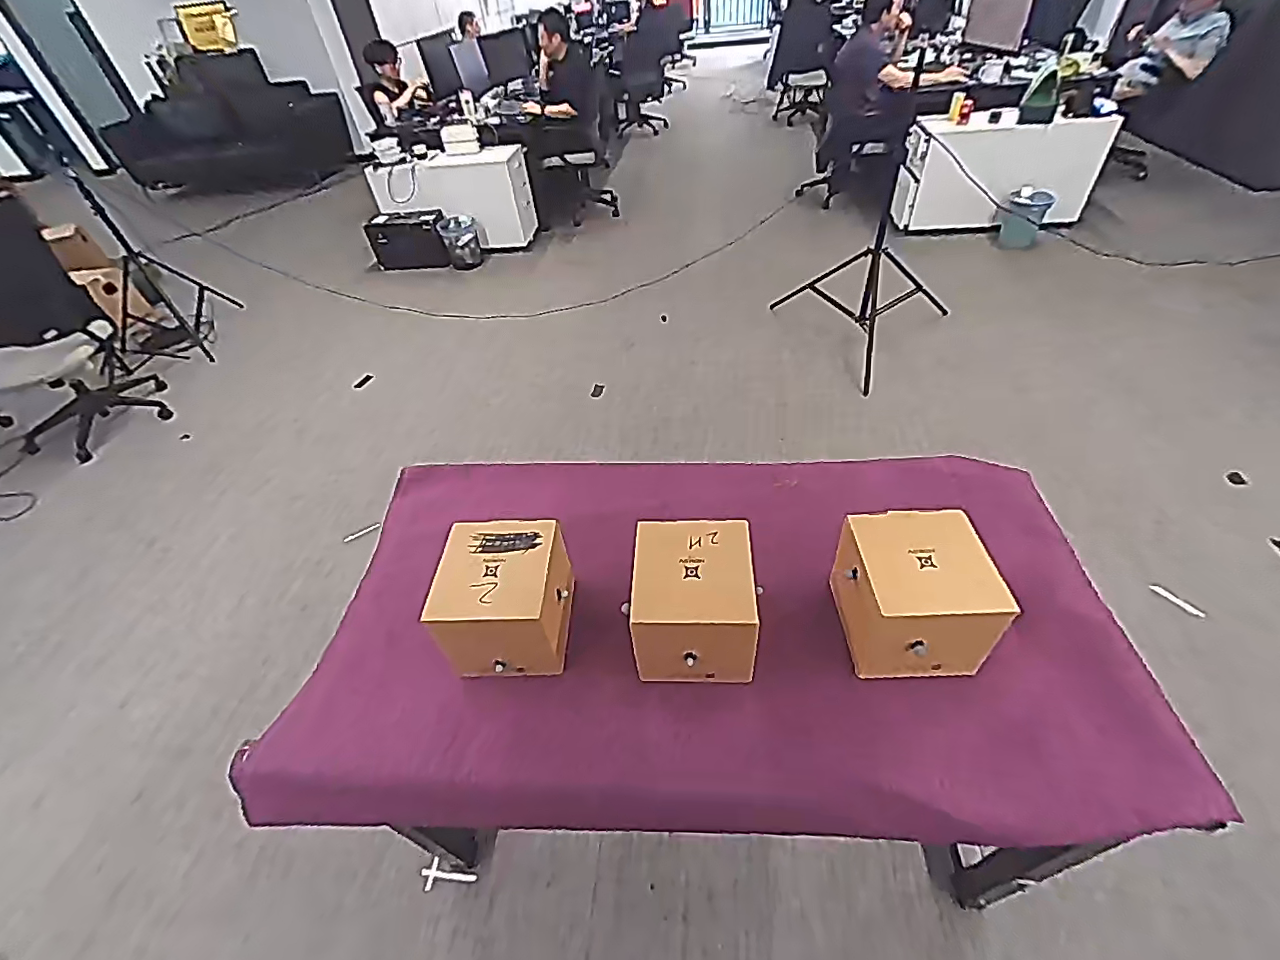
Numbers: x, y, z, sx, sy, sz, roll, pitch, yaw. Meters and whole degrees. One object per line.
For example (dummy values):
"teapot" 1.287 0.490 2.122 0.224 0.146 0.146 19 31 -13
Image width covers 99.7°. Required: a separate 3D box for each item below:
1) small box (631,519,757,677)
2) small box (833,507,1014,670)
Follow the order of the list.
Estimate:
"small box" 0.082 0.177 0.806 0.168 0.176 0.179 -1 44 5
"small box" 0.391 0.162 0.783 0.168 0.176 0.179 -4 43 4
